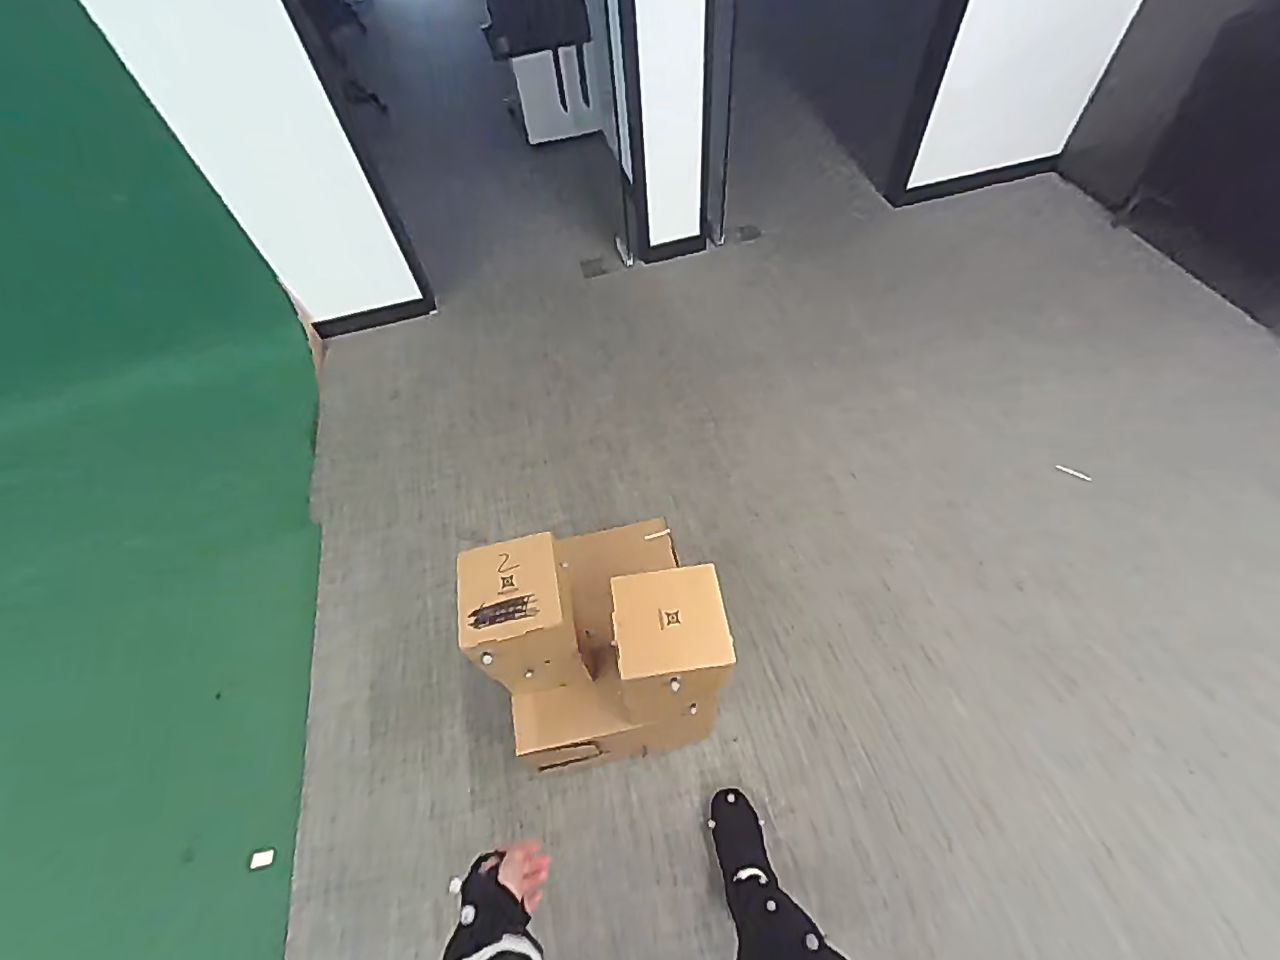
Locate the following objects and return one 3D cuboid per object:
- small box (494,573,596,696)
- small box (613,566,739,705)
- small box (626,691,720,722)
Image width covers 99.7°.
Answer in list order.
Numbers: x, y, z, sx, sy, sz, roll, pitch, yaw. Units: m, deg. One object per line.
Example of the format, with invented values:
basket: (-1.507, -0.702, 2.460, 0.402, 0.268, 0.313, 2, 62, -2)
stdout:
small box: (-0.186, 0.313, 1.085, 0.168, 0.176, 0.179, -10, 53, 0)
small box: (0.055, 0.262, 0.898, 0.179, 0.176, 0.168, -8, 55, -1)
small box: (0.054, 0.351, 1.035, 0.168, 0.176, 0.179, -8, 54, -2)
